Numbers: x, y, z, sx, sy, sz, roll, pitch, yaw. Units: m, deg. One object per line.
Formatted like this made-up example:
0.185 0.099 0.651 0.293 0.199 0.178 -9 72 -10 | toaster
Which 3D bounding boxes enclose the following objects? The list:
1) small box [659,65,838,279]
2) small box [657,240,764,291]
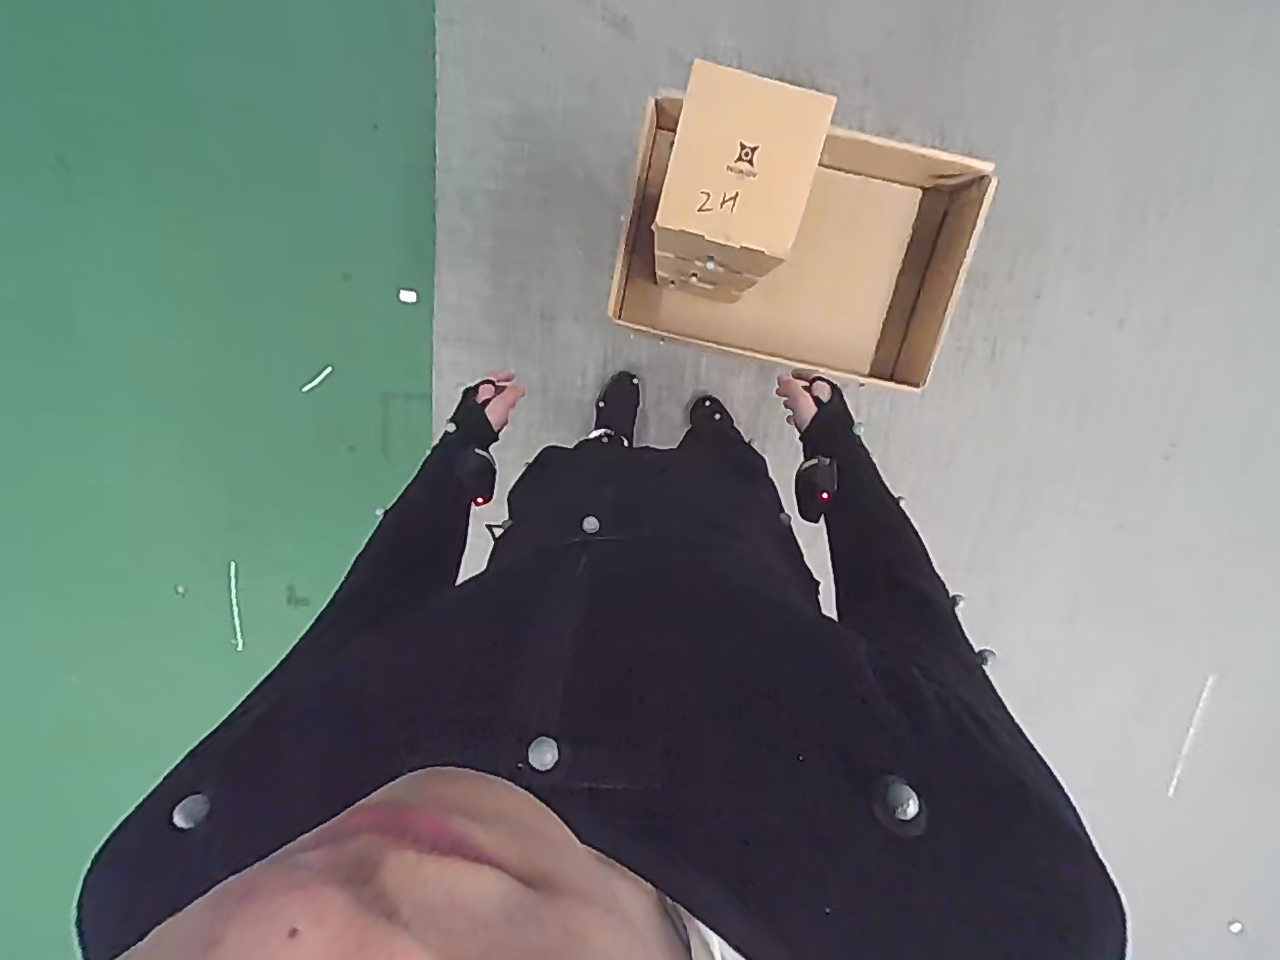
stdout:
0.122 -0.374 0.693 0.168 0.176 0.179 15 105 -3 | small box
0.124 -0.412 0.854 0.168 0.176 0.179 13 105 -3 | small box
